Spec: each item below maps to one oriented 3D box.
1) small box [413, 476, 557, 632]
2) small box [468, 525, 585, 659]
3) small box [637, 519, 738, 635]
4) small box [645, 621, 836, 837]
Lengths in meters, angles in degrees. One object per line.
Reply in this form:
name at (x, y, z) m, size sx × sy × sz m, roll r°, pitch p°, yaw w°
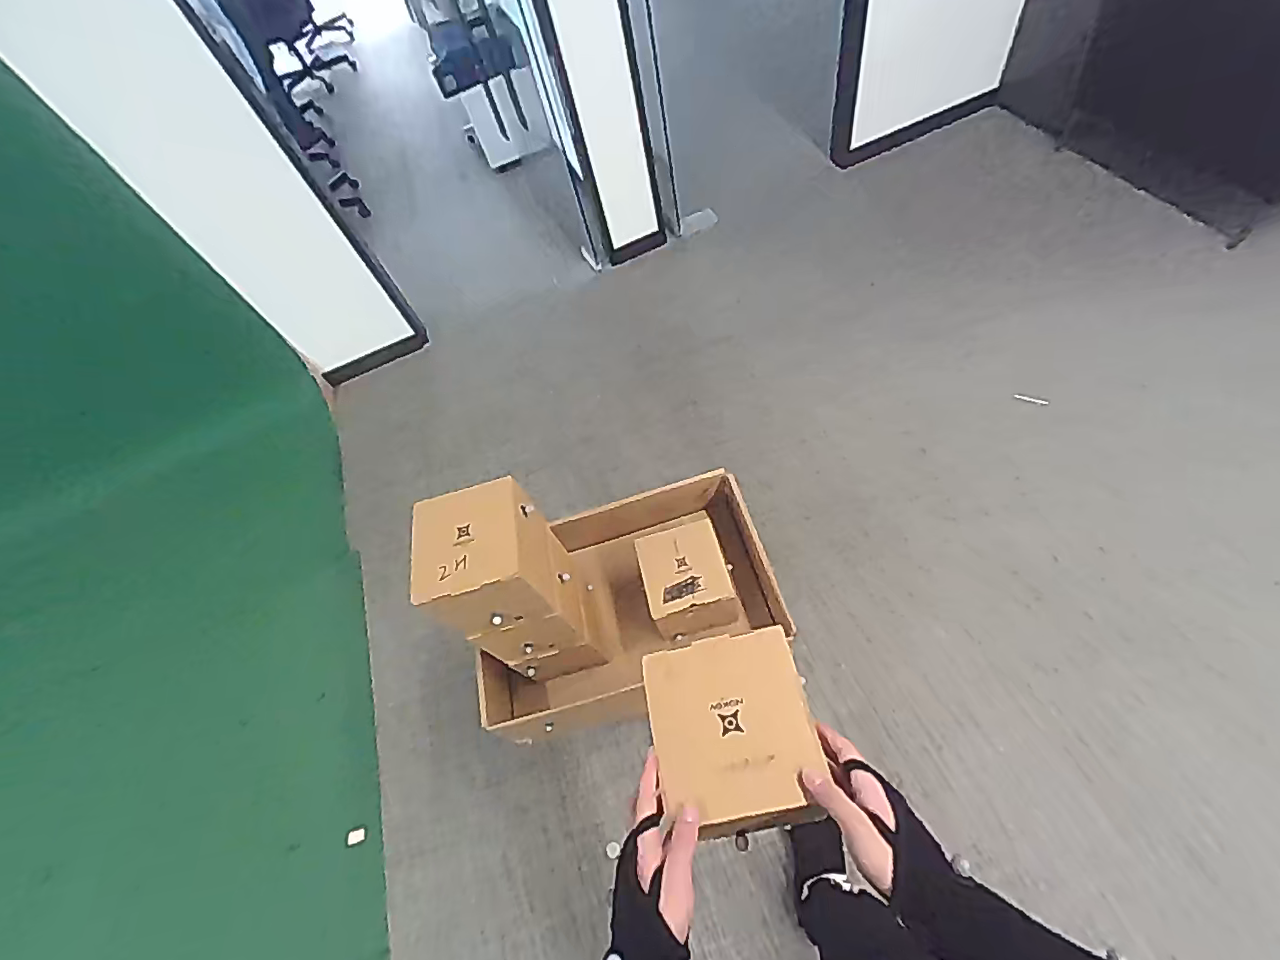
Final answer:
small box at (-0.242, 0.124, 0.875) m, size 0.168 × 0.176 × 0.179 m, roll -15°, pitch 57°, yaw 4°
small box at (-0.210, 0.213, 1.011) m, size 0.168 × 0.176 × 0.179 m, roll -16°, pitch 57°, yaw 3°
small box at (0.103, 0.211, 1.132) m, size 0.168 × 0.176 × 0.179 m, roll -16°, pitch 56°, yaw 3°
small box at (0.108, 0.289, 0.622) m, size 0.168 × 0.176 × 0.179 m, roll -13°, pitch 51°, yaw 4°
